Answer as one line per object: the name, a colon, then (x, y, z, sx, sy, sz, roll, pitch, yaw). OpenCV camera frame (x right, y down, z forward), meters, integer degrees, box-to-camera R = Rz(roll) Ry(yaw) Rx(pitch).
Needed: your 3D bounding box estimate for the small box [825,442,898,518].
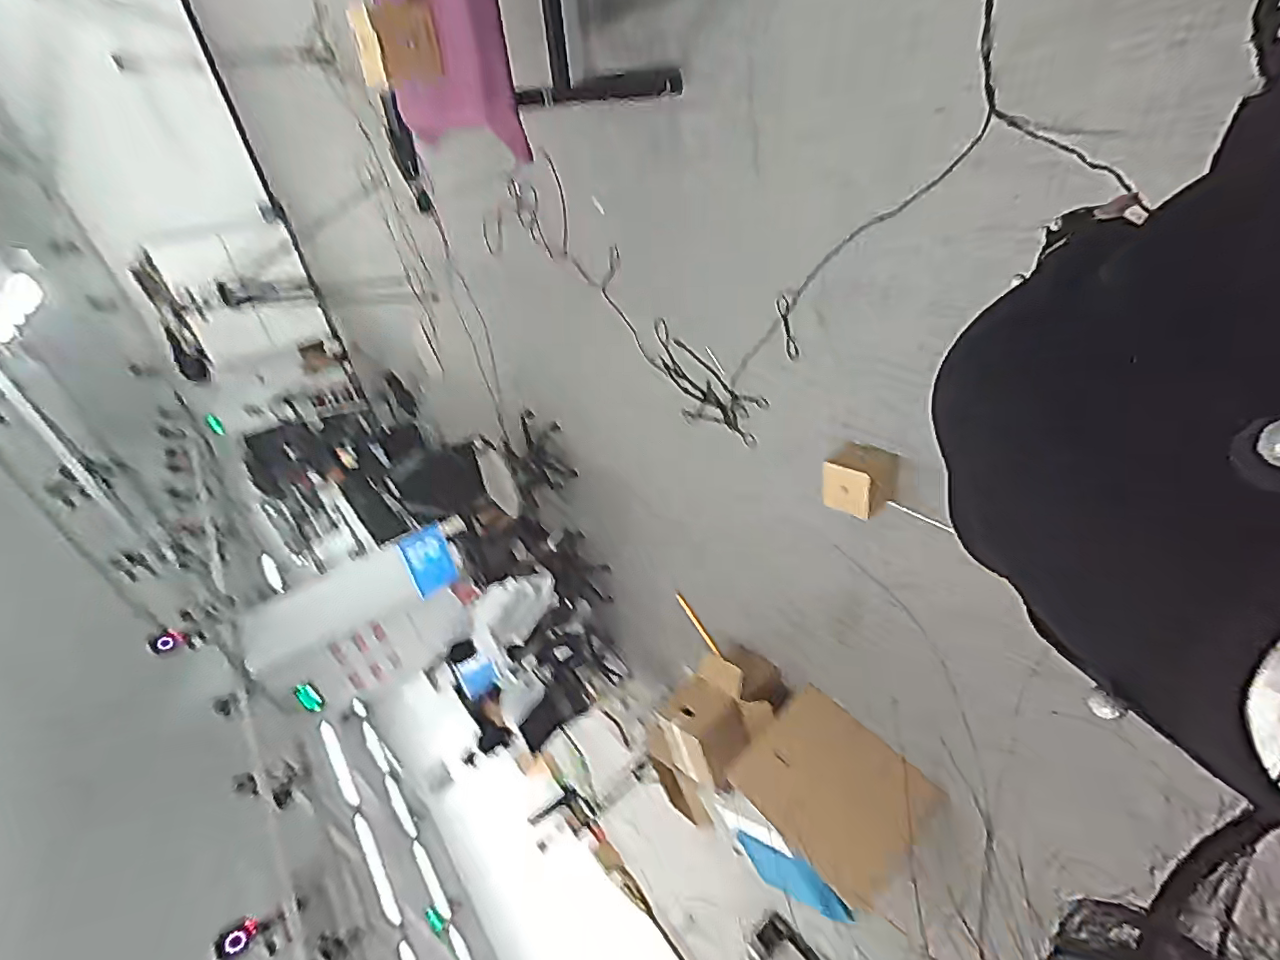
small box: (0.739, -0.007, 1.803, 0.168, 0.176, 0.179, 26, 136, 47)

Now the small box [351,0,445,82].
small box: (-0.657, -1.207, 1.490, 0.179, 0.176, 0.168, 34, 141, 39)
